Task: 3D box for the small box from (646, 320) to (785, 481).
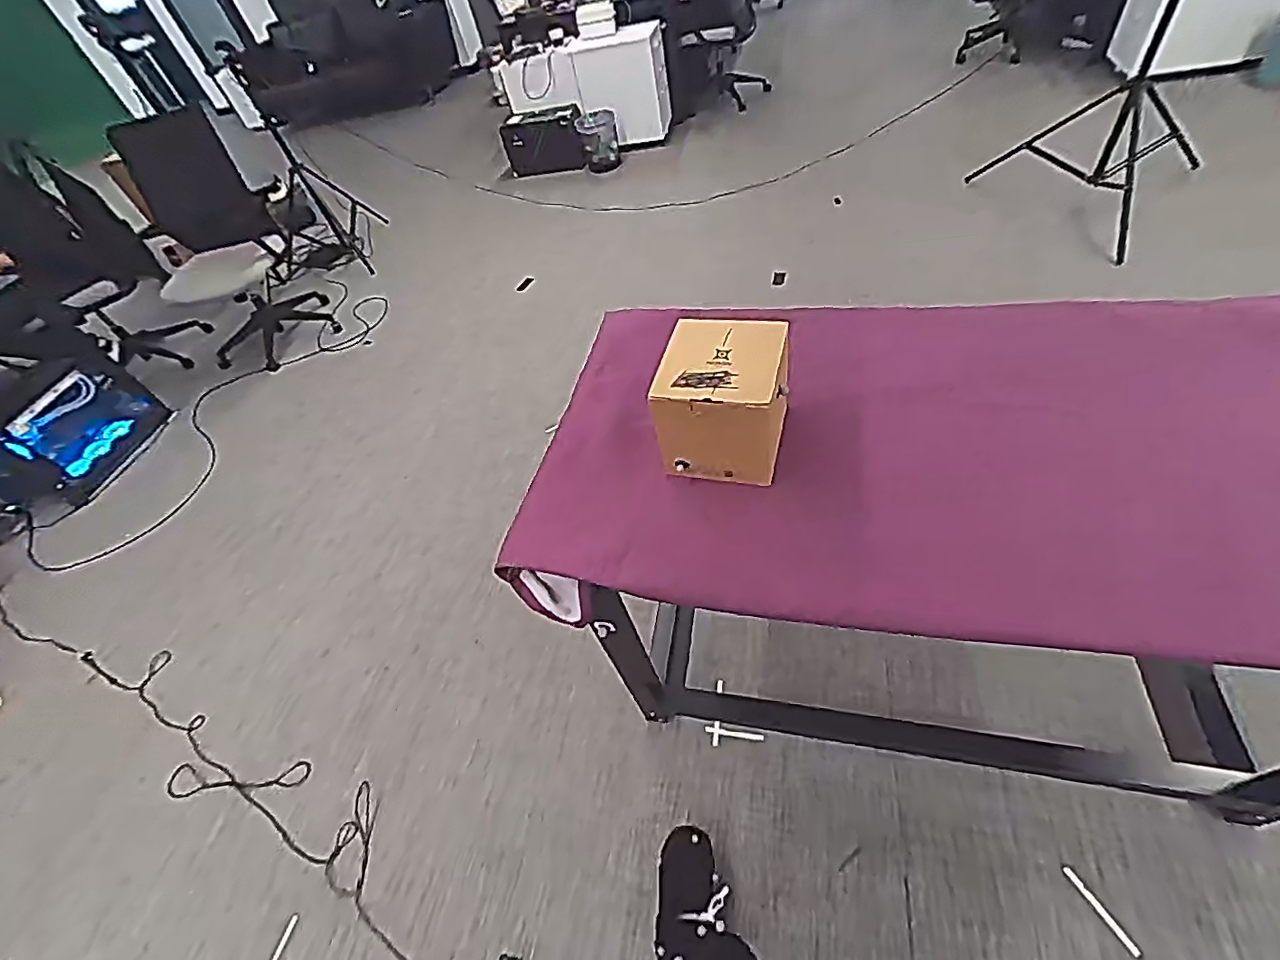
[{"bbox_3d":[0.123,-0.118,0.813,0.168,0.176,0.179,7,53,19],"label":"small box"}]
